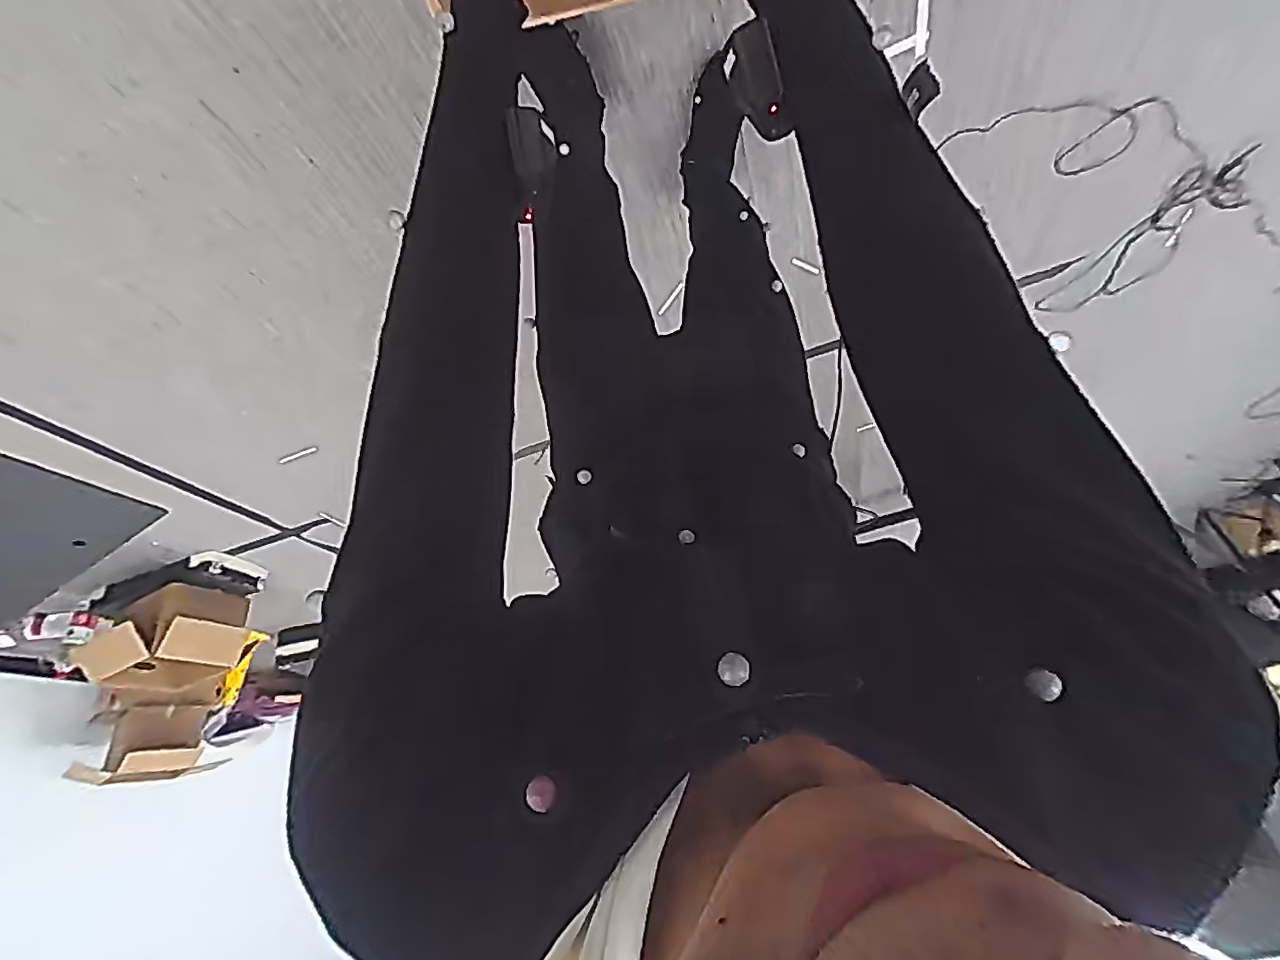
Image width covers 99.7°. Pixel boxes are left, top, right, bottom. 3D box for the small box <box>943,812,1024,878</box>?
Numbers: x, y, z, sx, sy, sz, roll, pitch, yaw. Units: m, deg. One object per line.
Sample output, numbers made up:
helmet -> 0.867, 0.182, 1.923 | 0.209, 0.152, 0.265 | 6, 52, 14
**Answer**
small box -> 1.242, 1.319, 1.968 | 0.179, 0.176, 0.168 | -17, 149, 9
